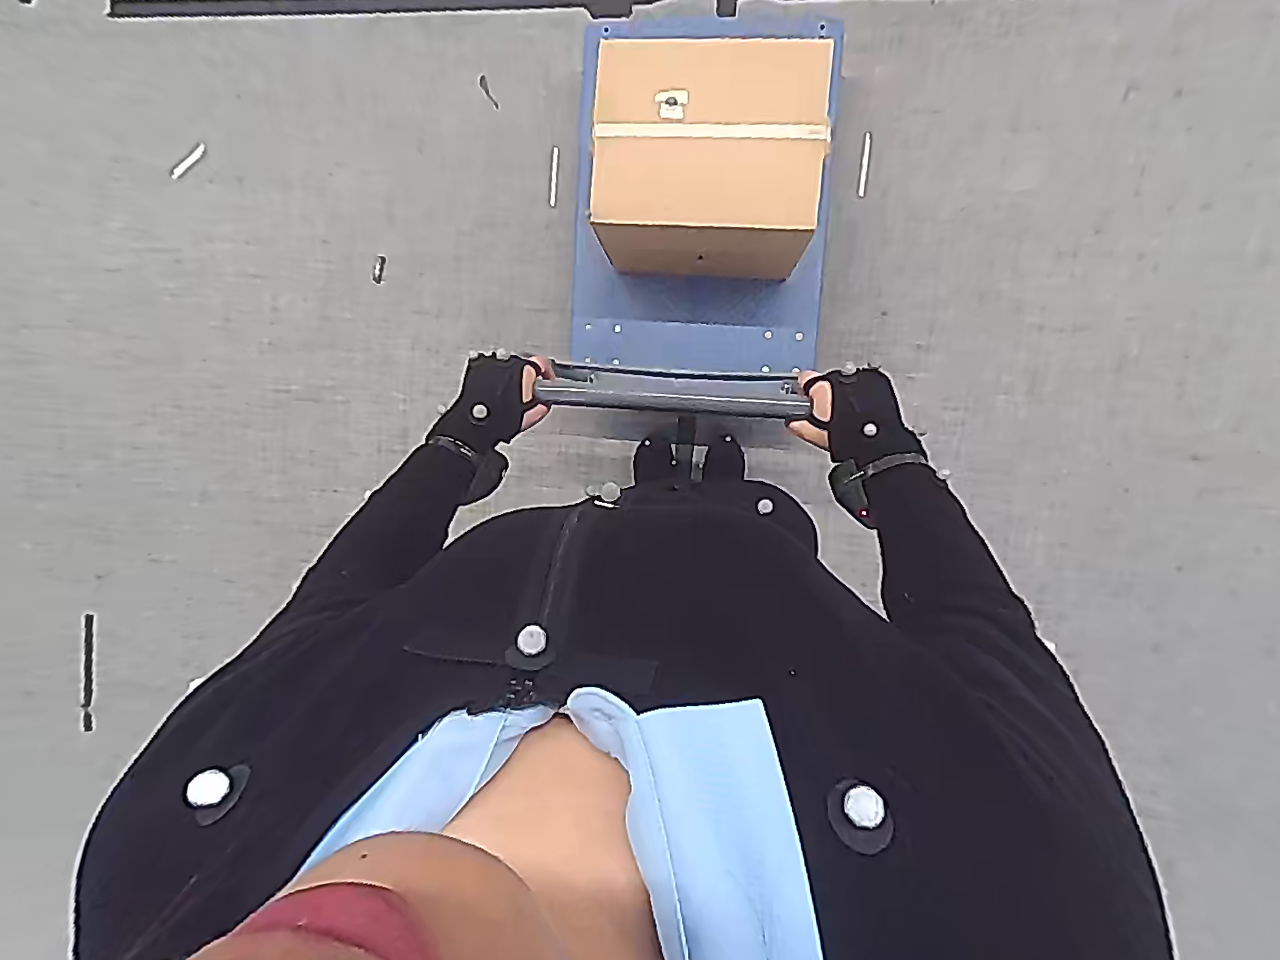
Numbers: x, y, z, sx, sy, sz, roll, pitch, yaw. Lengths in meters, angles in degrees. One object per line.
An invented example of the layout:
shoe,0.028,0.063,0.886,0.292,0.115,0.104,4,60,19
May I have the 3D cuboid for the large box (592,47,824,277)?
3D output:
large box,0.135,-0.619,1.115,0.408,0.320,0.320,4,94,7
